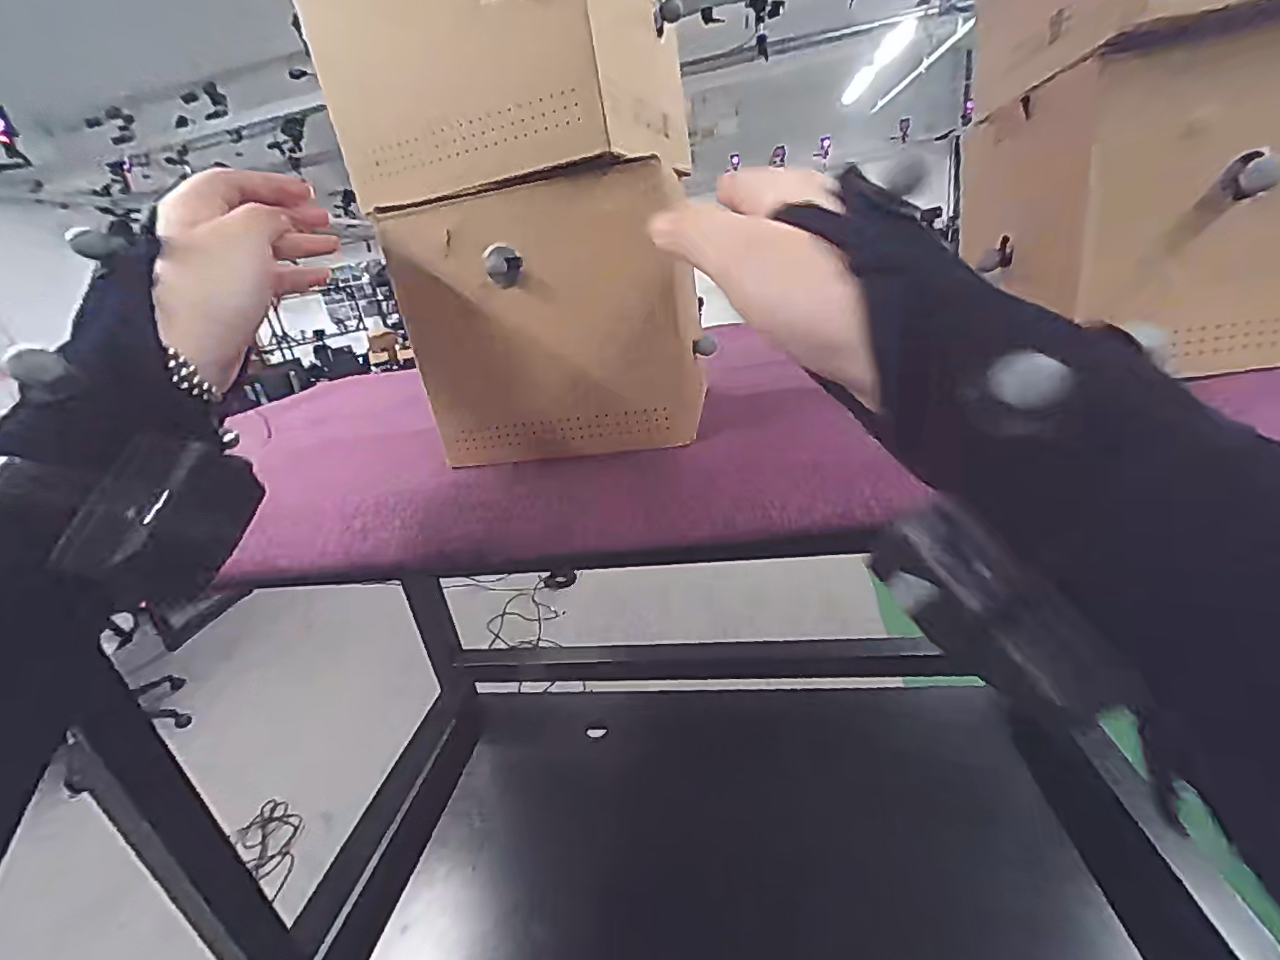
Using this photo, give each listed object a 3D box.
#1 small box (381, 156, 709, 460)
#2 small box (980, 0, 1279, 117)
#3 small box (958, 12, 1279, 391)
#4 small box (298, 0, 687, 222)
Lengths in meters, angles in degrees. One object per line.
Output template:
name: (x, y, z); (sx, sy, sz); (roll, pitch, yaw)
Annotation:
small box: (-0.048, -0.119, 0.406); (0.179, 0.176, 0.168); (-4, 22, 12)
small box: (0.295, -0.306, 0.274); (0.179, 0.176, 0.168); (-6, 19, 12)
small box: (0.325, -0.159, 0.339); (0.179, 0.176, 0.168); (-7, 20, 12)
small box: (-0.077, -0.268, 0.347); (0.179, 0.176, 0.168); (-2, 22, 22)
